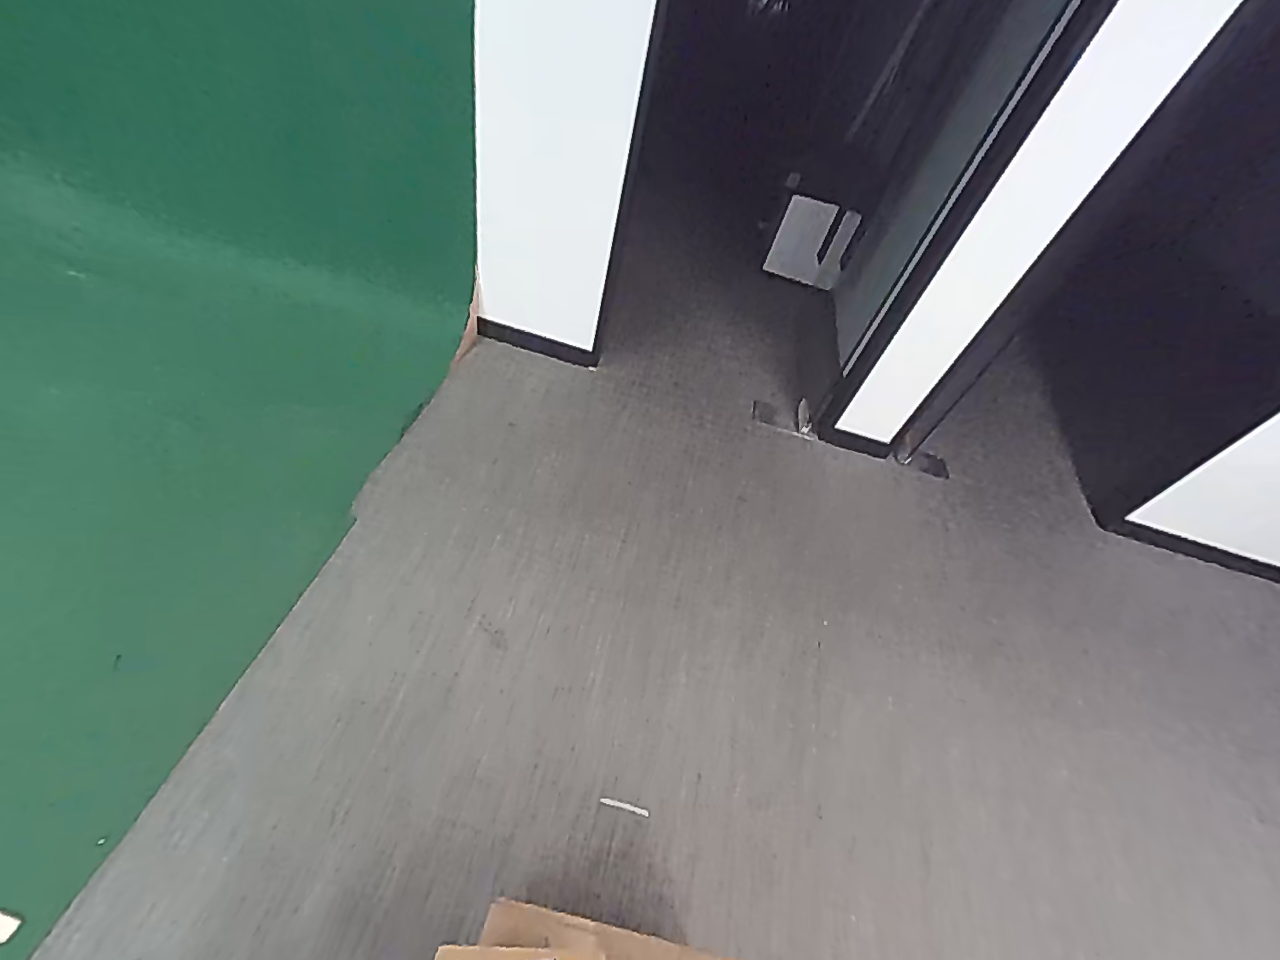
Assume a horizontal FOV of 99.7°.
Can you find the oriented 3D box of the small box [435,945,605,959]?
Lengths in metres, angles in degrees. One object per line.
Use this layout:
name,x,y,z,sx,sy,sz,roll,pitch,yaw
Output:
small box,-0.120,0.568,0.496,0.168,0.176,0.179,4,32,-3
